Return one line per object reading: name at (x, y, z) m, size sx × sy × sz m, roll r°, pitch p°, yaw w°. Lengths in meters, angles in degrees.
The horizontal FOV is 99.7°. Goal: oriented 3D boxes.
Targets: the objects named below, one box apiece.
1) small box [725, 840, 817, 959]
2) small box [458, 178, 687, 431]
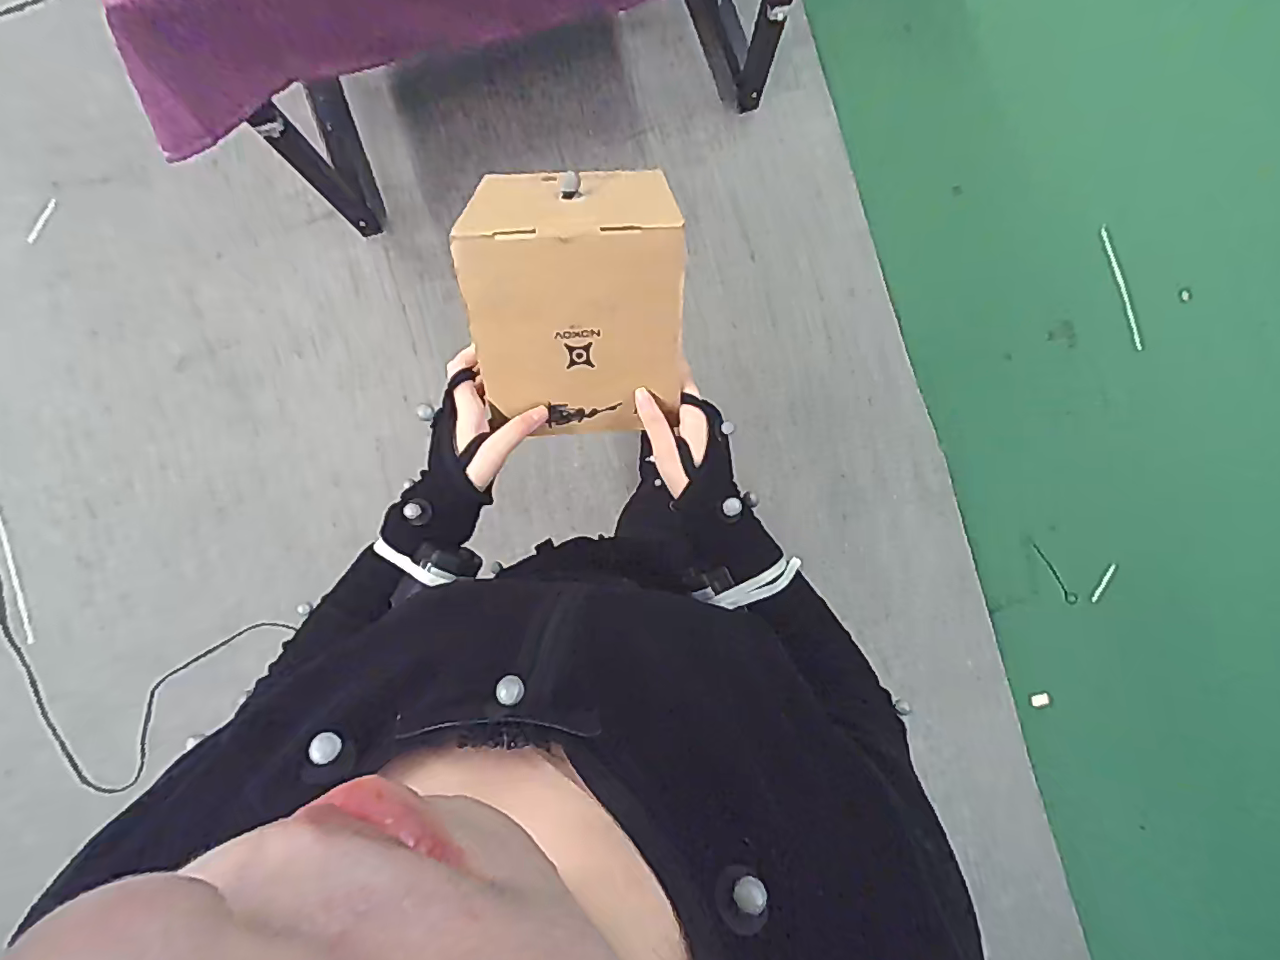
small box at (0.319, 1.039, 1.350) m, size 0.168 × 0.176 × 0.179 m, roll -12°, pitch 89°, yaw -1°
small box at (-0.053, -0.165, 0.494) m, size 0.168 × 0.176 × 0.179 m, roll -2°, pitch 131°, yaw -2°
